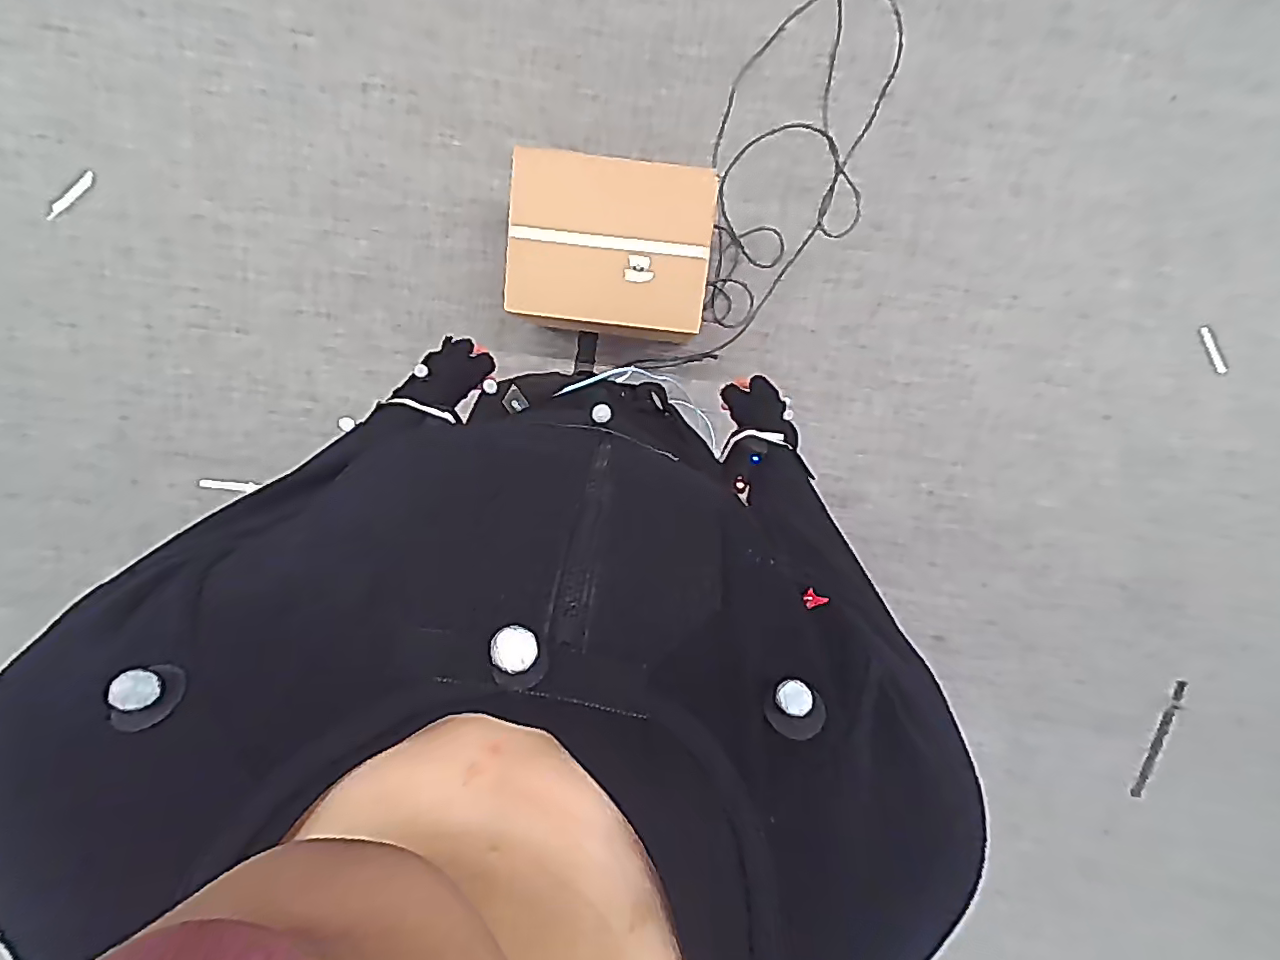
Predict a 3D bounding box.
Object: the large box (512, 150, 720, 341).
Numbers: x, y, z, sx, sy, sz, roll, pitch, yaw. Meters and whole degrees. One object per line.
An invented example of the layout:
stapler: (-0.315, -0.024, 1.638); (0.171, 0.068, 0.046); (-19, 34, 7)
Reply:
large box: (-0.054, -0.505, 1.234); (0.408, 0.320, 0.320); (7, 101, 0)
